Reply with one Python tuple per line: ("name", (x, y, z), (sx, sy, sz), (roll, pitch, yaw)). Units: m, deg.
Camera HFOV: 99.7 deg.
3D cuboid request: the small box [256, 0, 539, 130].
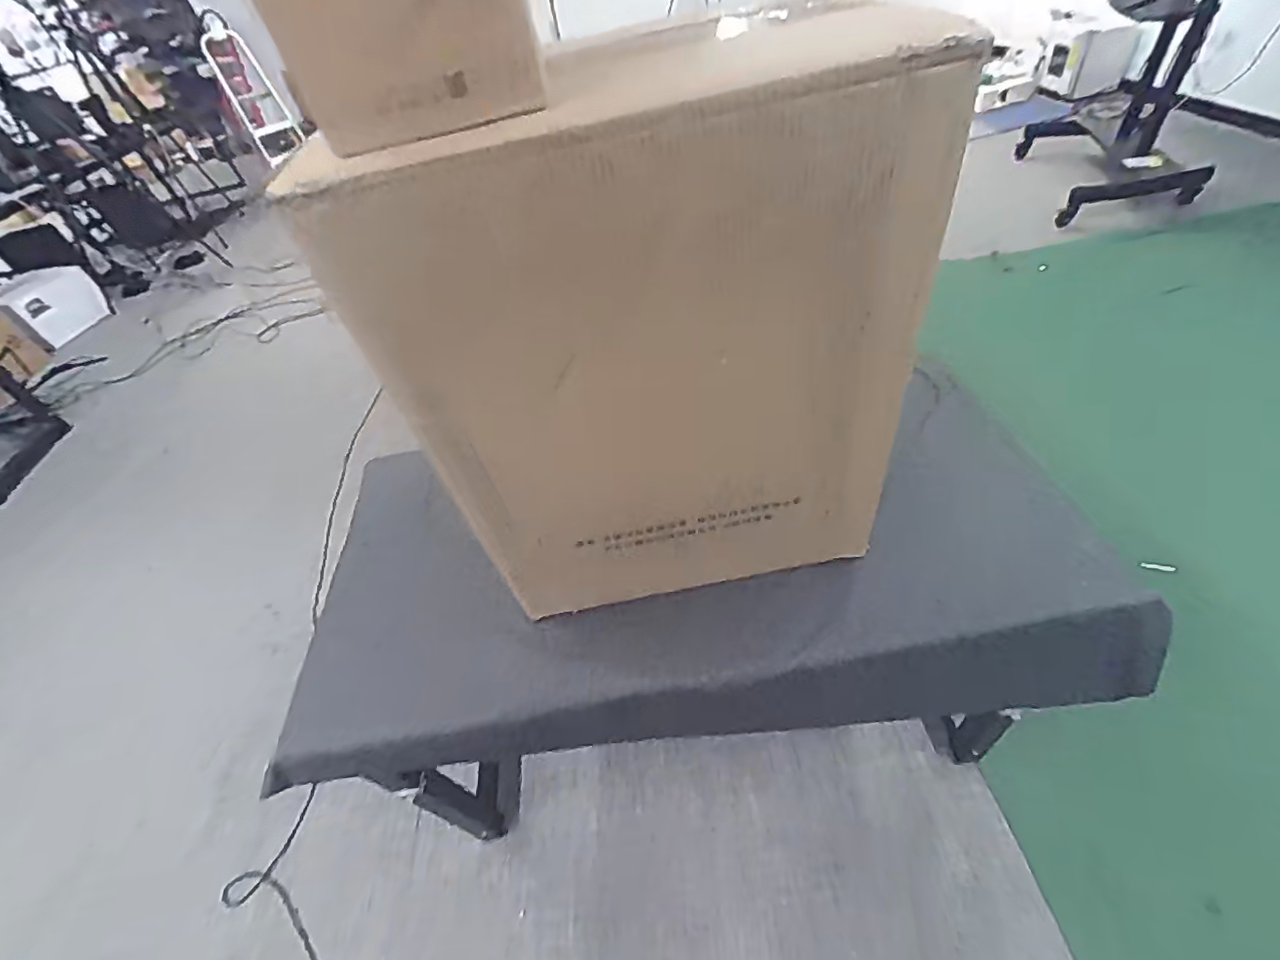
("small box", (-0.179, -0.381, 0.389), (0.168, 0.176, 0.179), (-16, 50, -1))
